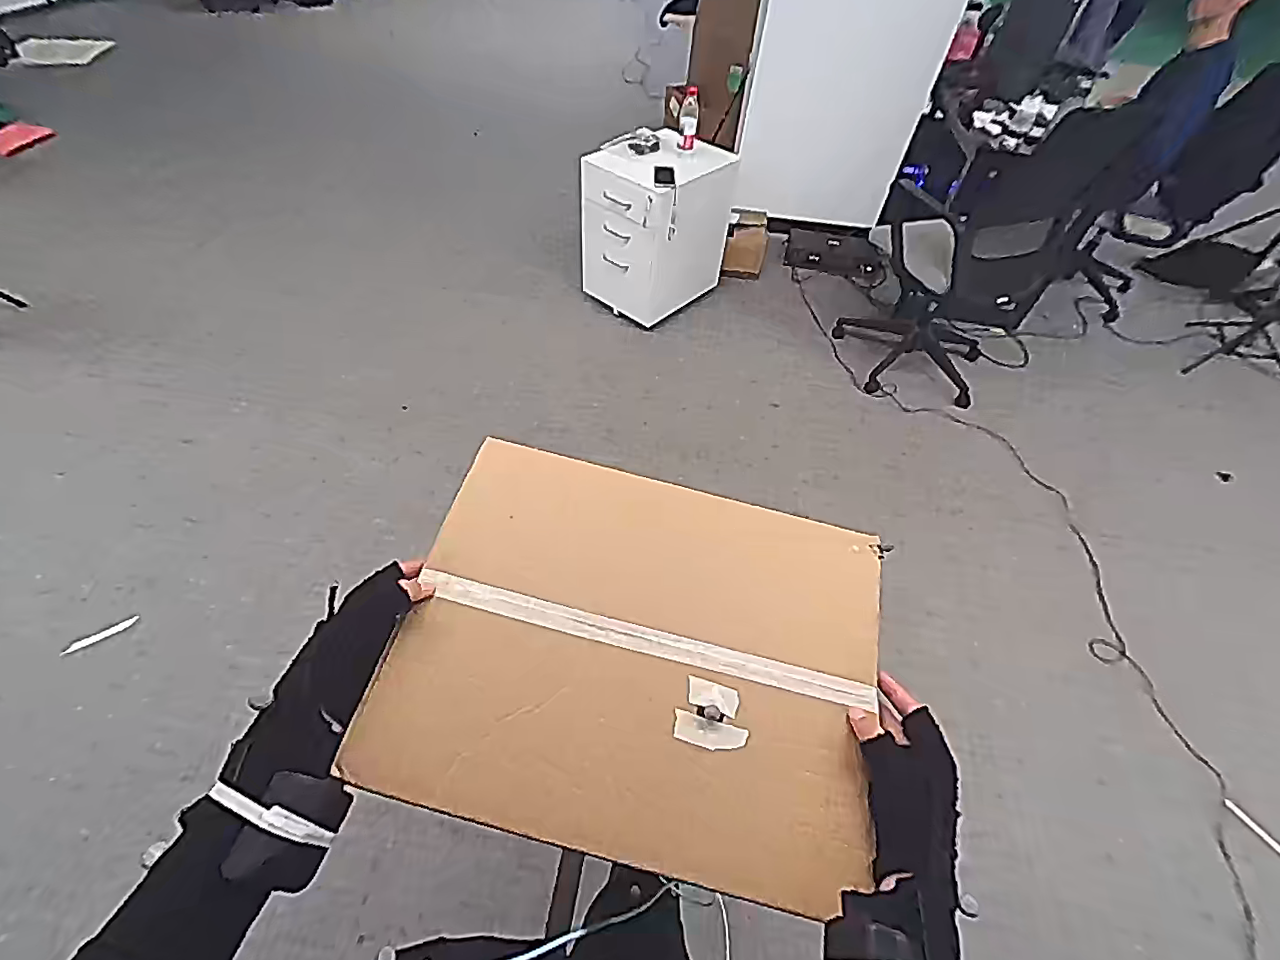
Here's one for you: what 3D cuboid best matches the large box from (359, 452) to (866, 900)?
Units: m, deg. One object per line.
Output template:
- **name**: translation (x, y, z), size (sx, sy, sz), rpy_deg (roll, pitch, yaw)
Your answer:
- **large box**: translation (-0.010, 0.215, 0.612), size (0.408, 0.320, 0.320), rpy_deg (14, 61, 2)
